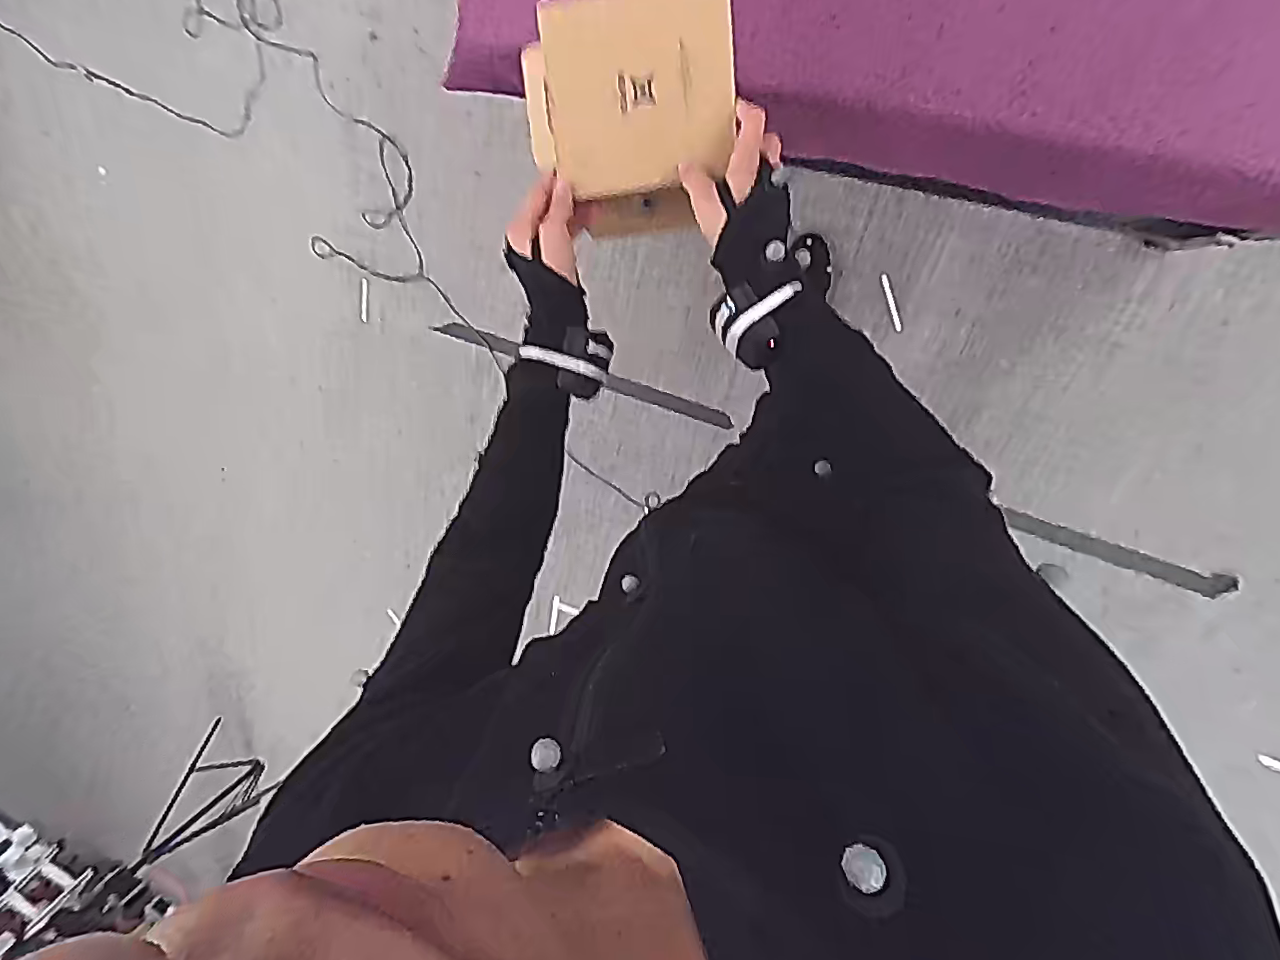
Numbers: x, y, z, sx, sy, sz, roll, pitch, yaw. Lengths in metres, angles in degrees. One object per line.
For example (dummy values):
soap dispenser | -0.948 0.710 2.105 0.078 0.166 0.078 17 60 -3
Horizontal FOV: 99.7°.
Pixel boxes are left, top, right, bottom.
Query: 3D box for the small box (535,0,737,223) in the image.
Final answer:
small box | 0.006 -0.379 0.560 0.179 0.176 0.168 -3 101 7
